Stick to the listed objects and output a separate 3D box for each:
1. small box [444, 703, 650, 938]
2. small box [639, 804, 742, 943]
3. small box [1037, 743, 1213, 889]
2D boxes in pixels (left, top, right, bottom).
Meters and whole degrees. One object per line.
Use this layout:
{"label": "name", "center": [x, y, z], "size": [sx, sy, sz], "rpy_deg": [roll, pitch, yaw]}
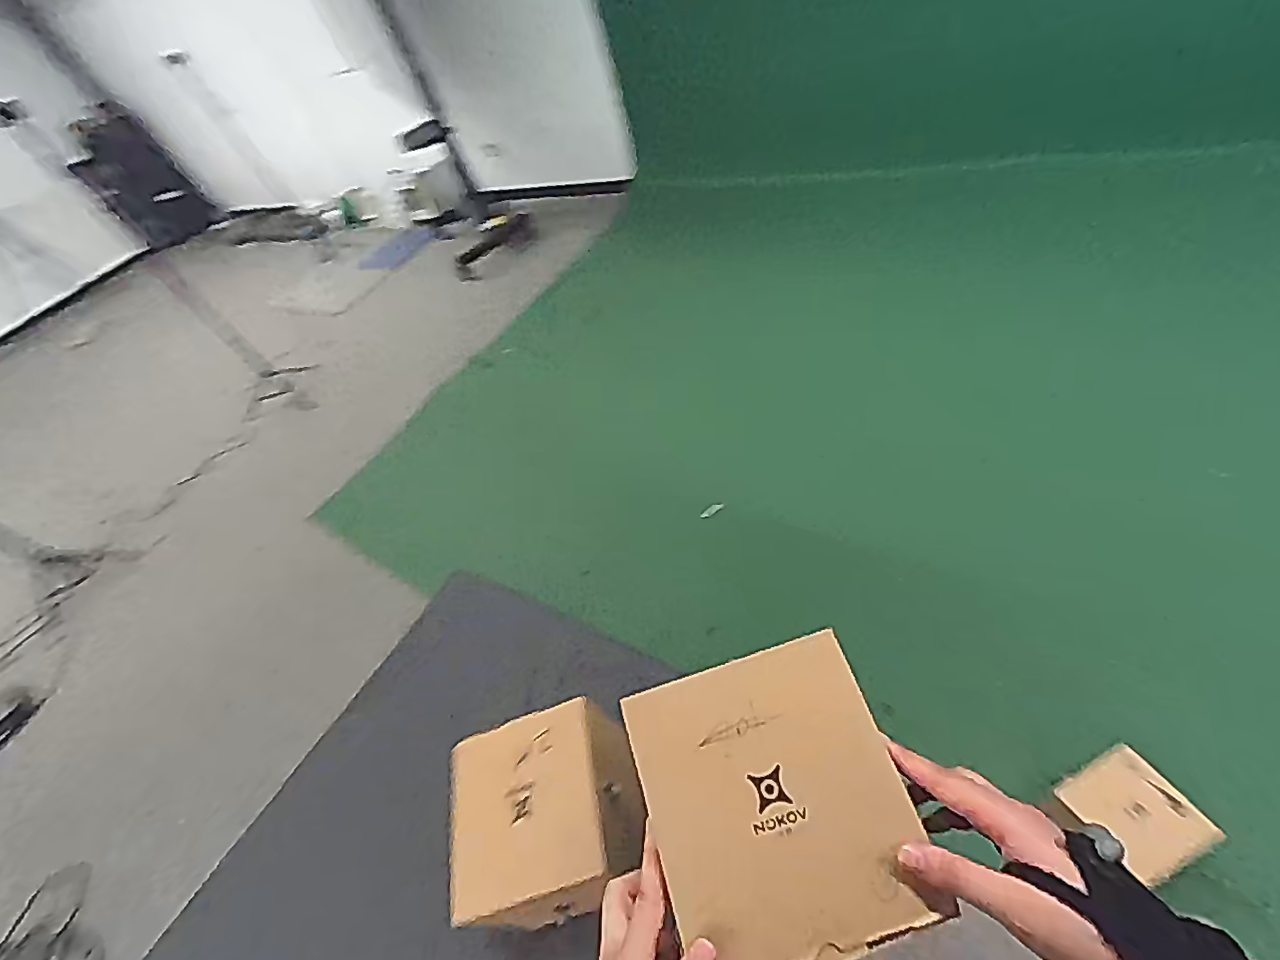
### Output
{"label": "small box", "center": [-0.101, 0.388, 0.616], "size": [0.168, 0.176, 0.179], "rpy_deg": [-22, 46, 5]}
{"label": "small box", "center": [0.103, 0.840, 1.154], "size": [0.168, 0.176, 0.179], "rpy_deg": [21, 60, 33]}
{"label": "small box", "center": [0.899, 0.642, 1.027], "size": [0.179, 0.176, 0.168], "rpy_deg": [-29, 46, -5]}
